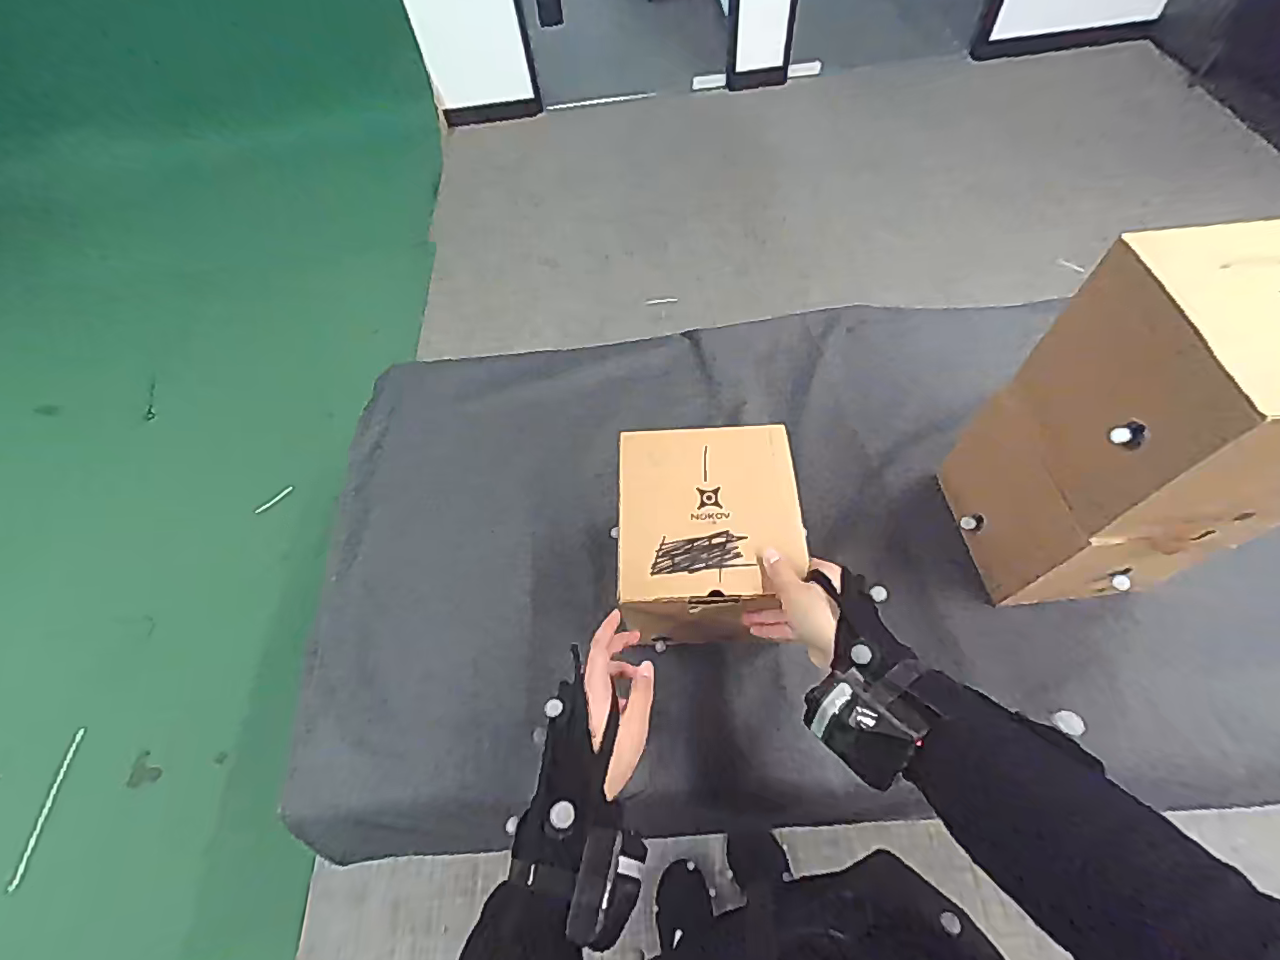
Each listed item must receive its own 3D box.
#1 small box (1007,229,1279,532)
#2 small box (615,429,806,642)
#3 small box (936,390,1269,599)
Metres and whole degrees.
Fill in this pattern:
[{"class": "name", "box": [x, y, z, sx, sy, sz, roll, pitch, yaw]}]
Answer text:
[{"class": "small box", "box": [0.440, -0.068, 0.427, 0.168, 0.176, 0.179, -4, 57, 2]}, {"class": "small box", "box": [0.067, 0.067, 0.568, 0.168, 0.176, 0.179, -2, 59, 3]}, {"class": "small box", "box": [0.448, 0.017, 0.565, 0.168, 0.176, 0.179, -6, 59, 1]}]
